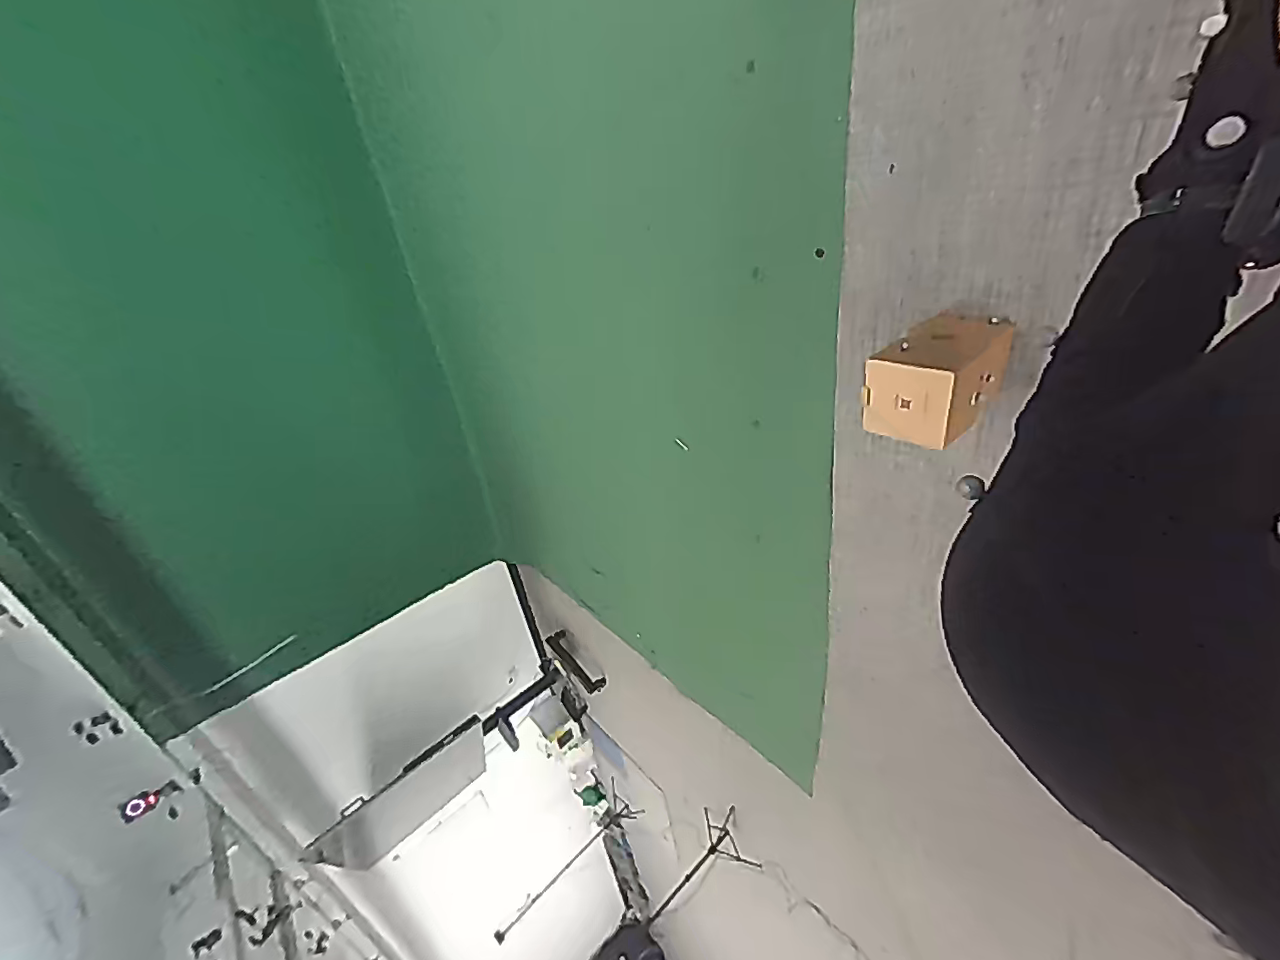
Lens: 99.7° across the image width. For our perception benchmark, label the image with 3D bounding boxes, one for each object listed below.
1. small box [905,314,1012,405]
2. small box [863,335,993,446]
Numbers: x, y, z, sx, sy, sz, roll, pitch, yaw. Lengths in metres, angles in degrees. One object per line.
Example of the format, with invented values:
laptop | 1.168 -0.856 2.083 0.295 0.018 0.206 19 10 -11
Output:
small box | 0.705 -0.263 1.217 0.168 0.176 0.179 28 137 43
small box | 0.592 -0.194 1.121 0.179 0.176 0.168 24 134 44
